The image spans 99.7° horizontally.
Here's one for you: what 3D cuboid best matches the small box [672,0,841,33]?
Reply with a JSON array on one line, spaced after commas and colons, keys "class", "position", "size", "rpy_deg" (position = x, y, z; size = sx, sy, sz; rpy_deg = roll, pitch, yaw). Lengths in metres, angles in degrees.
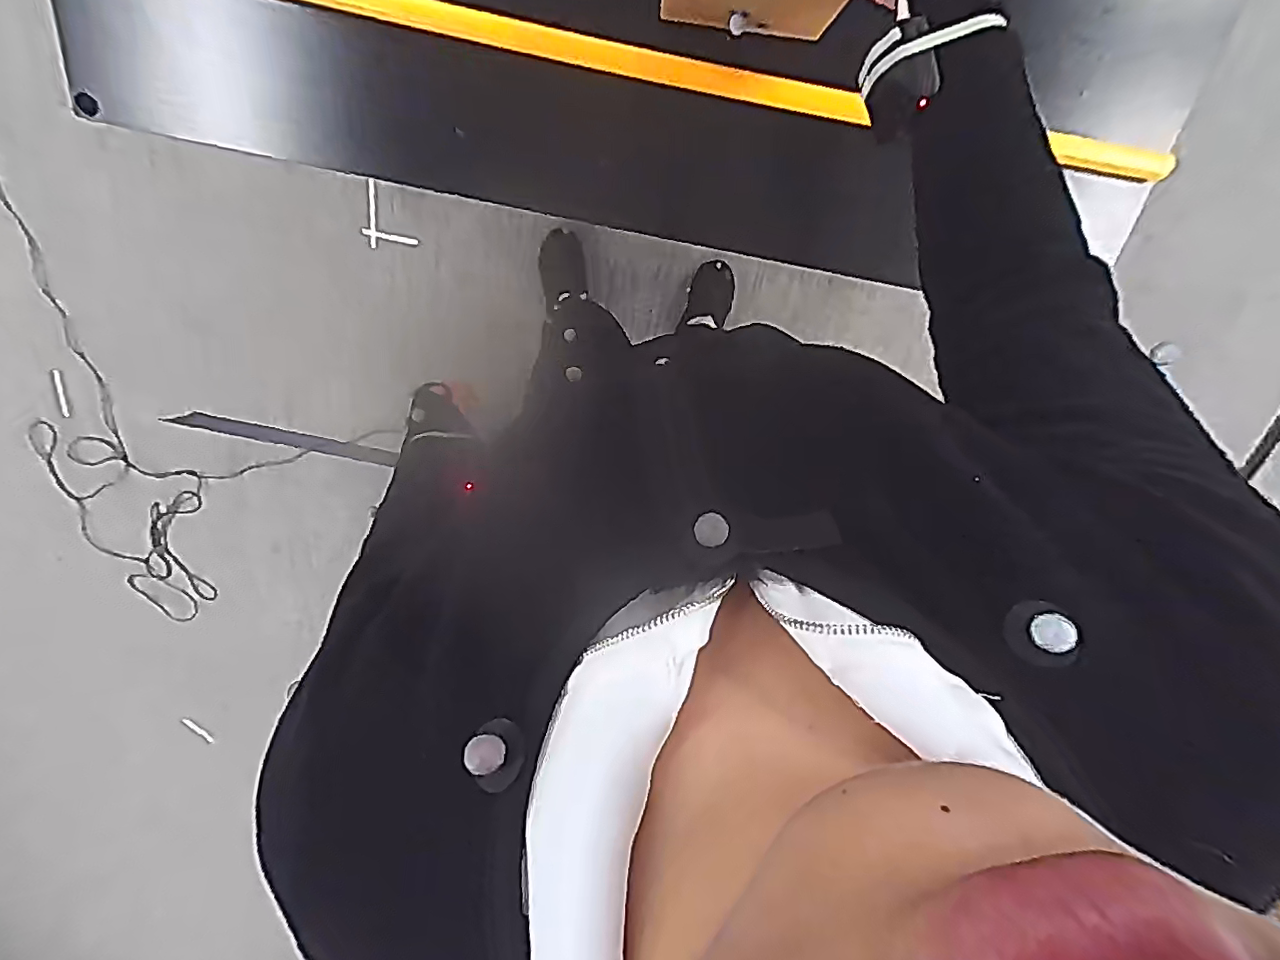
[{"class": "small box", "position": [0.113, -0.521, 0.454], "size": [0.168, 0.176, 0.179], "rpy_deg": [7, 115, -1]}]
